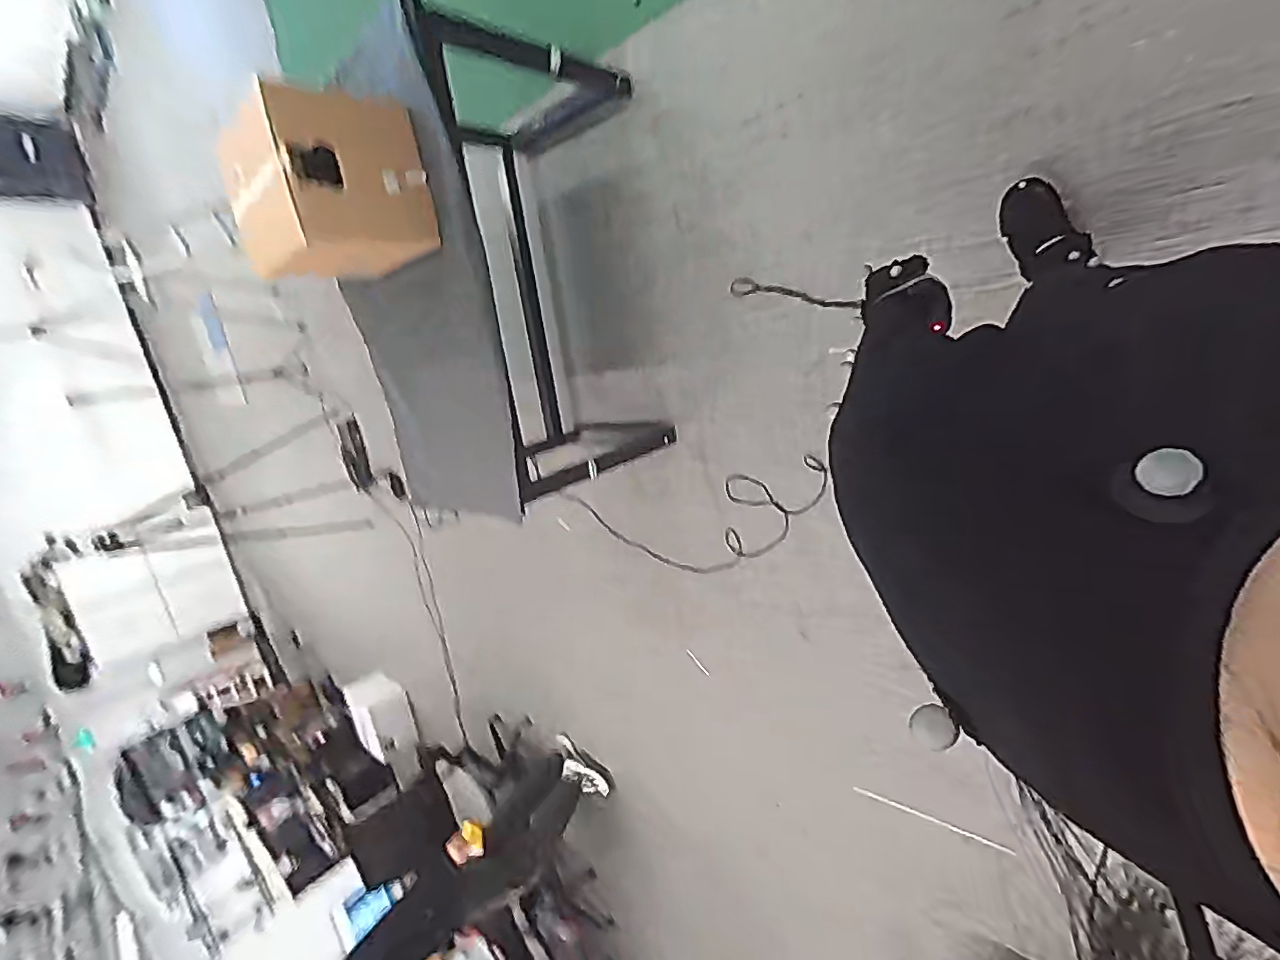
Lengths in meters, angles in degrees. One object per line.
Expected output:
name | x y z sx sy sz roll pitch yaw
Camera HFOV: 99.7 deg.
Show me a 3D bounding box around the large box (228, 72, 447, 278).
large box | -0.735 -0.703 1.321 0.408 0.320 0.320 4 109 43
